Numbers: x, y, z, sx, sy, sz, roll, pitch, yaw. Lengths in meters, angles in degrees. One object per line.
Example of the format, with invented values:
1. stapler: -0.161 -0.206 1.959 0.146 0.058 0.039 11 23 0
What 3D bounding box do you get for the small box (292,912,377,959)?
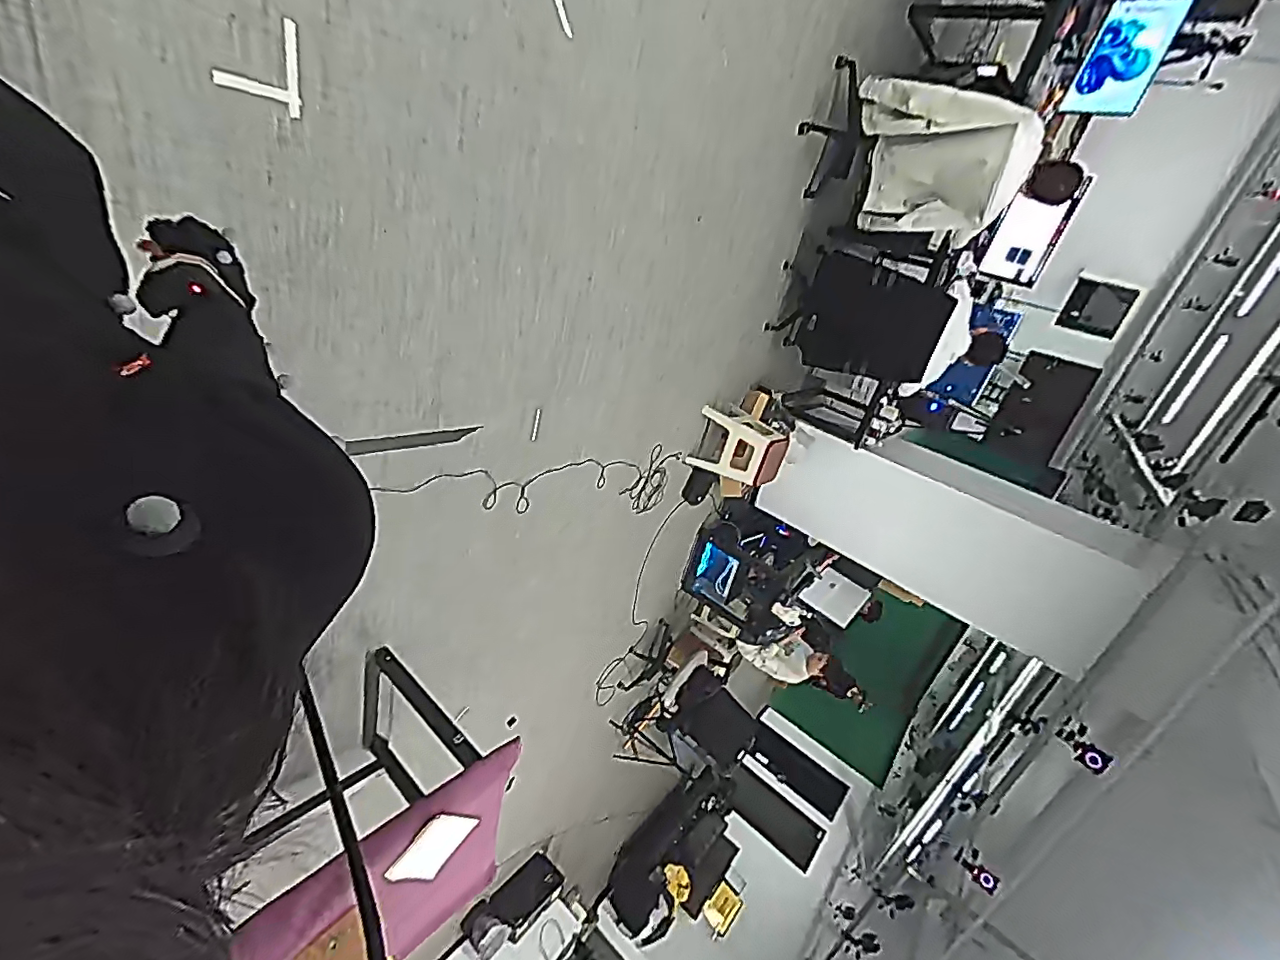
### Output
1. small box: -0.772 1.260 1.364 0.179 0.176 0.168 -28 139 -42
